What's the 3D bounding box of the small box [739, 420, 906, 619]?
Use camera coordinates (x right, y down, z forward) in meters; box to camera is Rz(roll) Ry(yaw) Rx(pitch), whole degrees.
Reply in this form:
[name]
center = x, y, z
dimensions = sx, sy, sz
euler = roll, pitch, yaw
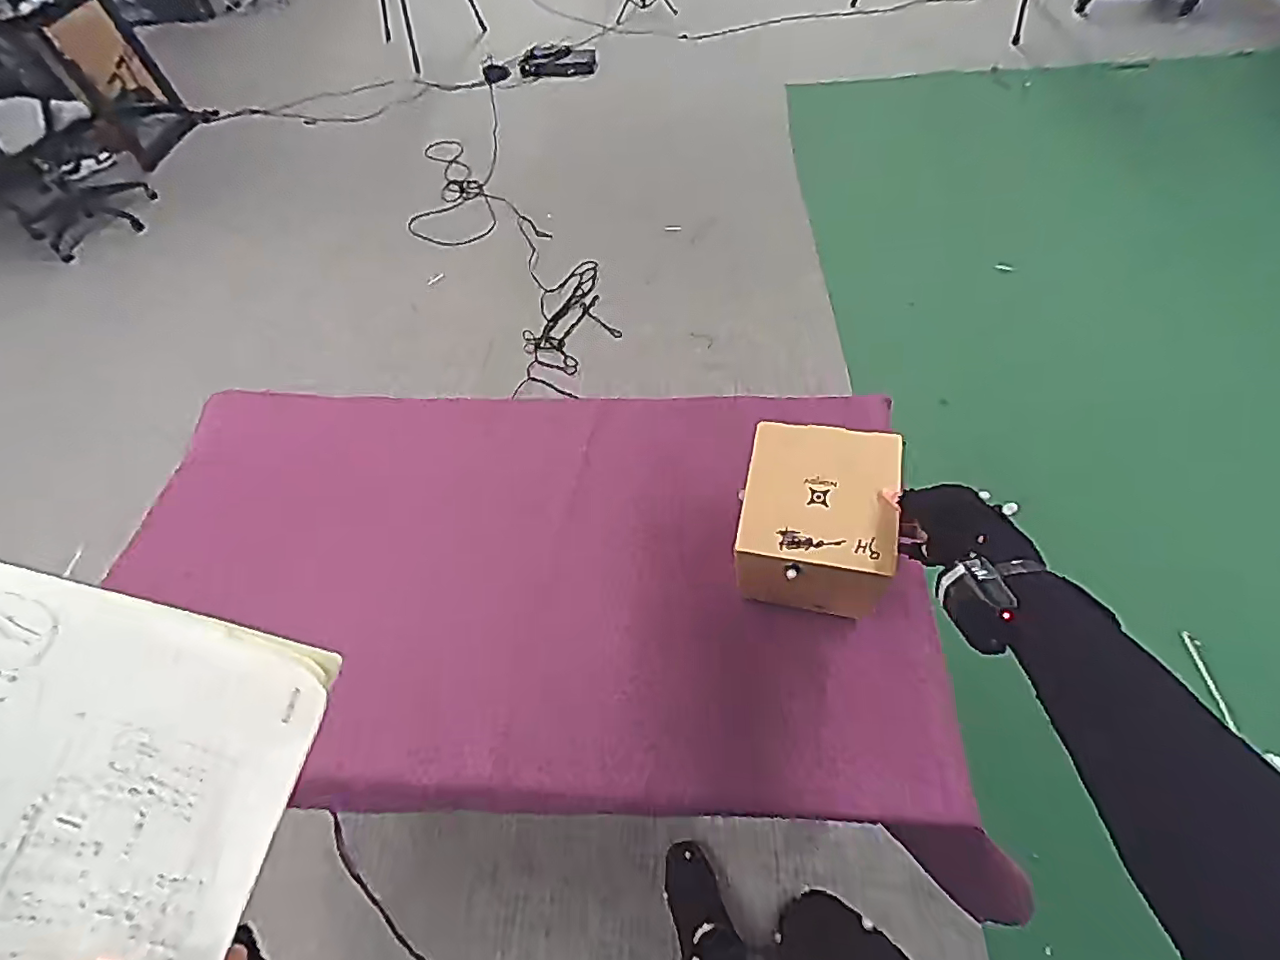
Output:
[small box]
center = 0.219, 0.052, 0.673
dimensions = 0.168, 0.176, 0.179
euler = 9, 62, 16
